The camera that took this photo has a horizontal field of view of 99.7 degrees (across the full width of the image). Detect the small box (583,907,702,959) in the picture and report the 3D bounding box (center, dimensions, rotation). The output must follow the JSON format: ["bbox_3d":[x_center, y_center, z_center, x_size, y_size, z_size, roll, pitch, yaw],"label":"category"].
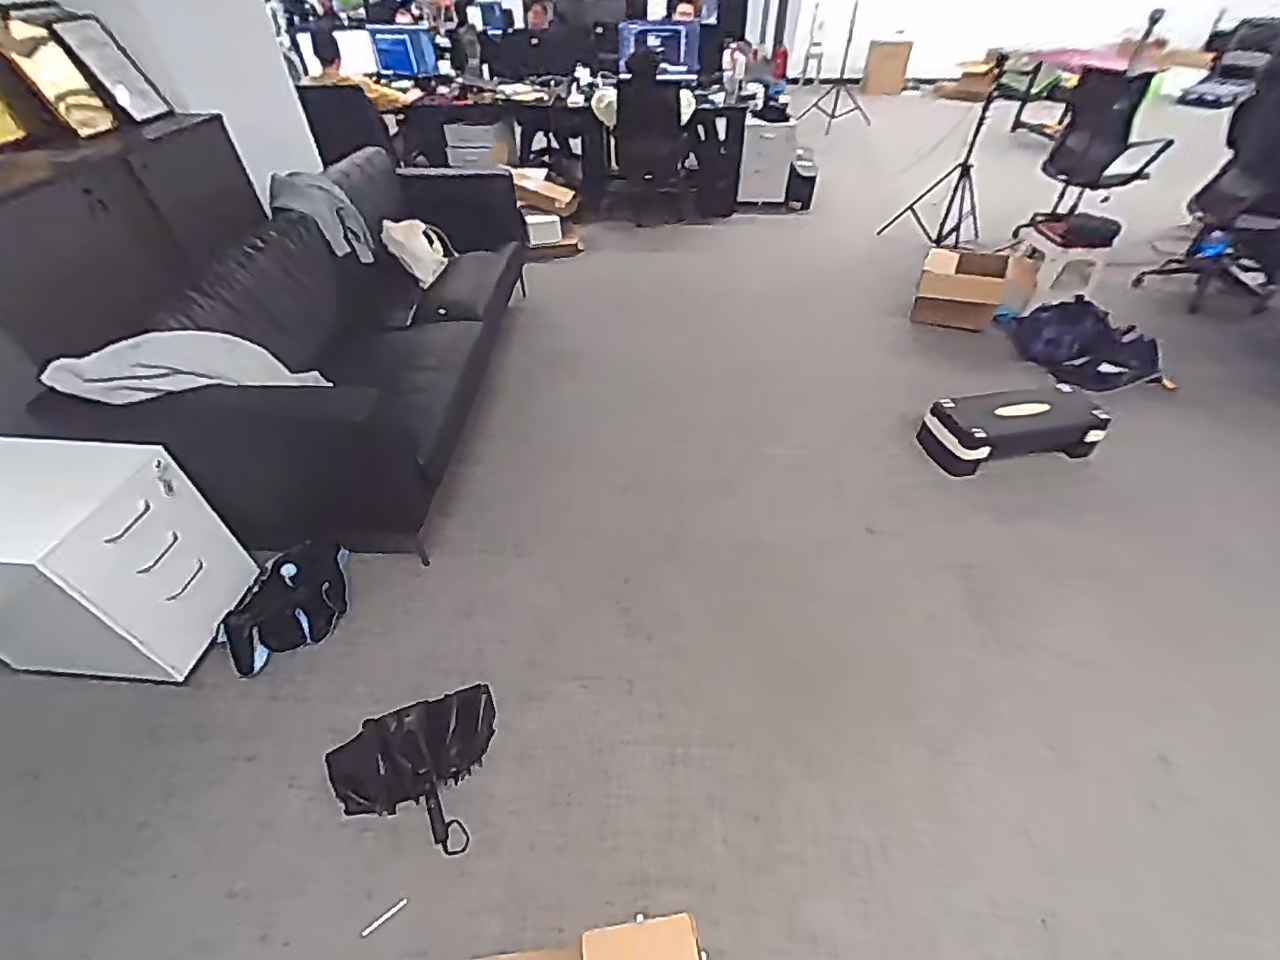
[{"bbox_3d":[0.009,0.788,0.831,0.179,0.176,0.168,-7,41,-5],"label":"small box"}]
